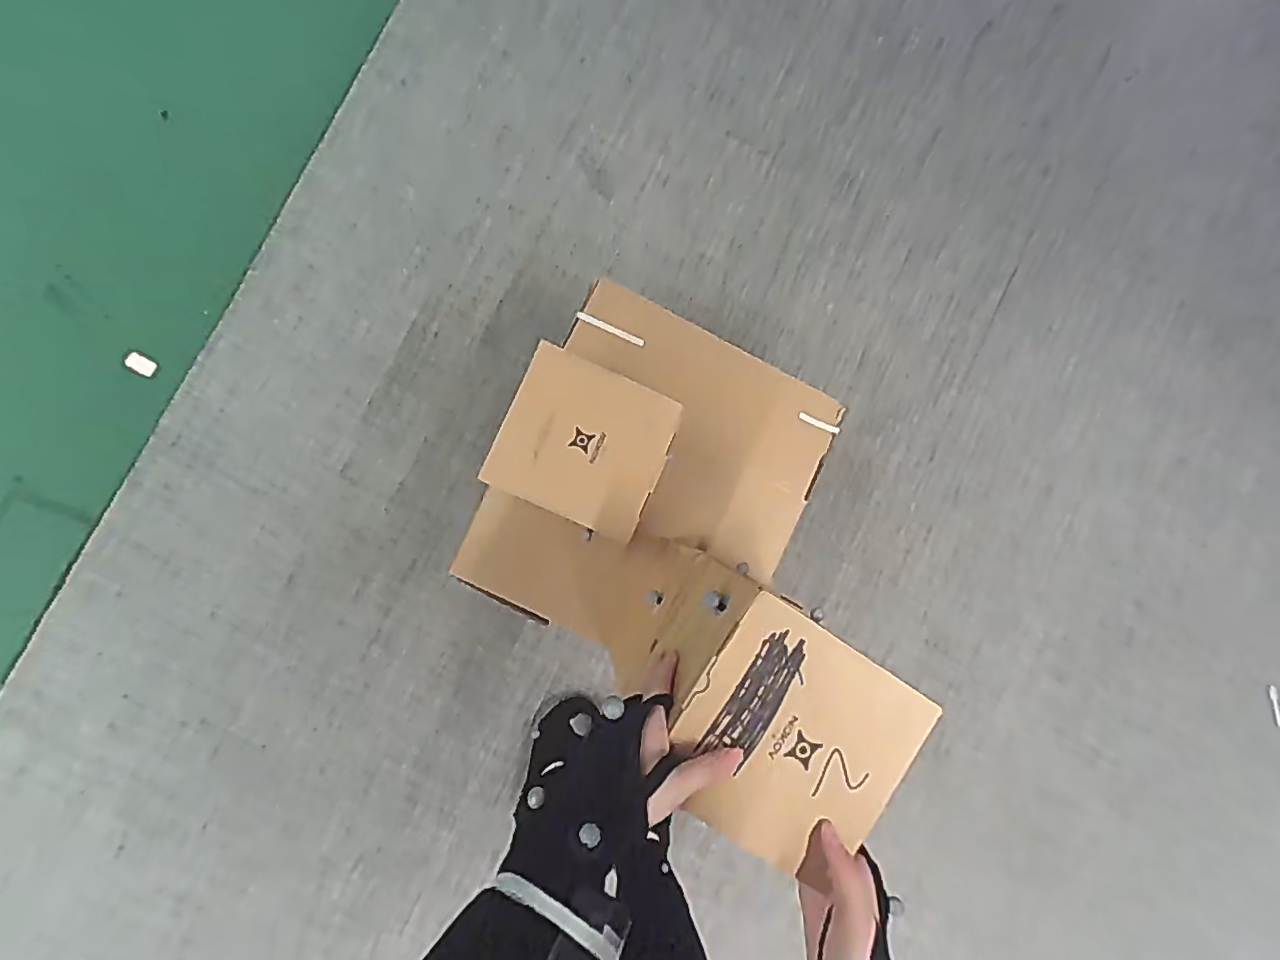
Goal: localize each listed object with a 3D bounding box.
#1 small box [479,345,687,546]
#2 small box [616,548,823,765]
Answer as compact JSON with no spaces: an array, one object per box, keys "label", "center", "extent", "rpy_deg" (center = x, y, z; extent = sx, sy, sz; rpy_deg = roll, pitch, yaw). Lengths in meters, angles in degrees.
[{"label":"small box","center":[-0.067,-0.033,0.654],"extent":[0.179,0.176,0.168],"rpy_deg":[24,83,-4]},{"label":"small box","center":[0.081,0.195,0.658],"extent":[0.168,0.176,0.179],"rpy_deg":[30,84,-5]}]
